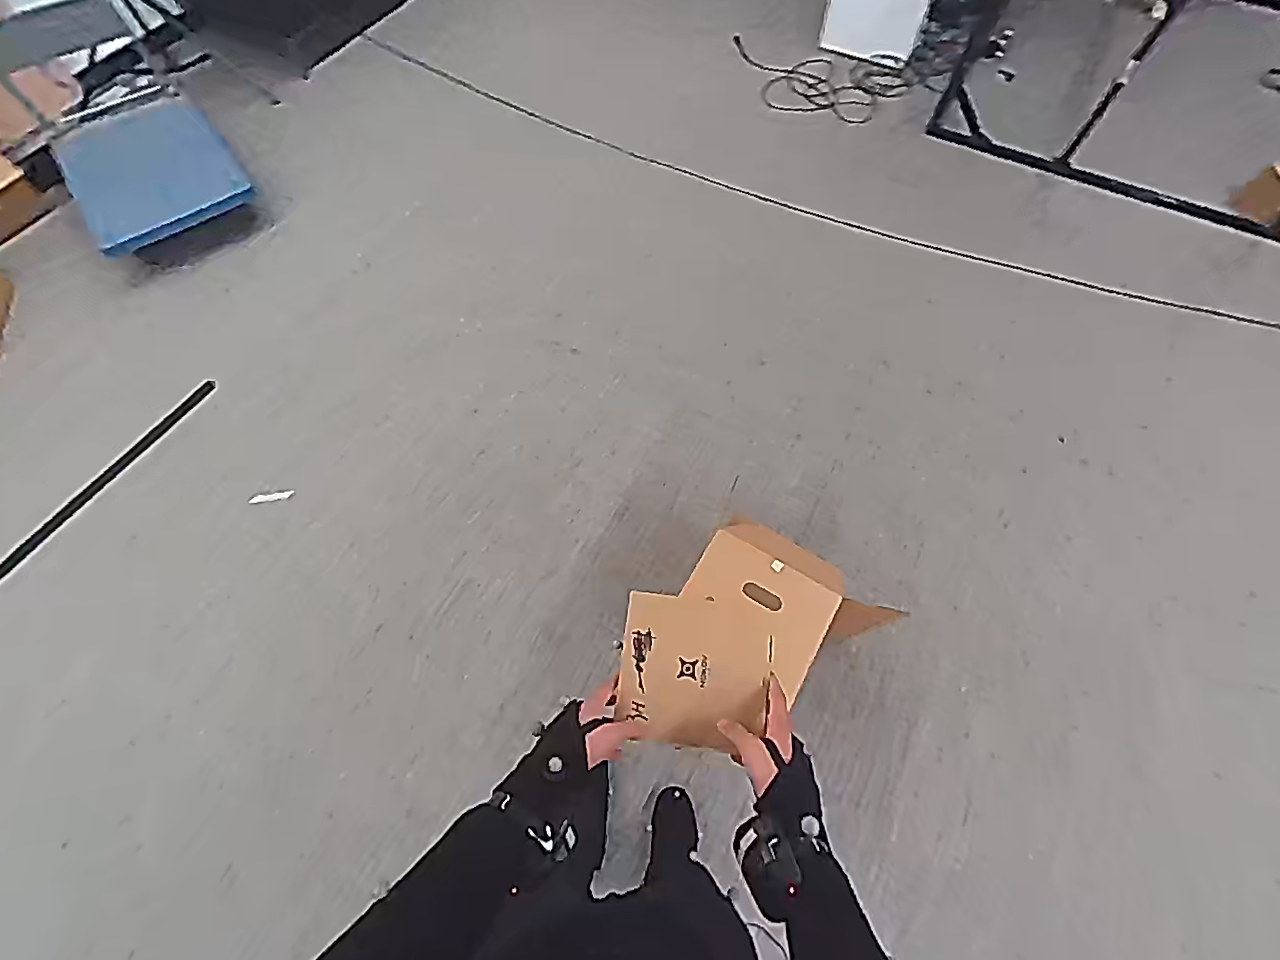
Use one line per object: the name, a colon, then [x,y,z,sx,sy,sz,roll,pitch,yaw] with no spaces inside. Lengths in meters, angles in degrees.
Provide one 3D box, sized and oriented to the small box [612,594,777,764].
small box: [0.065,0.248,0.696,0.179,0.176,0.168,7,72,2]
